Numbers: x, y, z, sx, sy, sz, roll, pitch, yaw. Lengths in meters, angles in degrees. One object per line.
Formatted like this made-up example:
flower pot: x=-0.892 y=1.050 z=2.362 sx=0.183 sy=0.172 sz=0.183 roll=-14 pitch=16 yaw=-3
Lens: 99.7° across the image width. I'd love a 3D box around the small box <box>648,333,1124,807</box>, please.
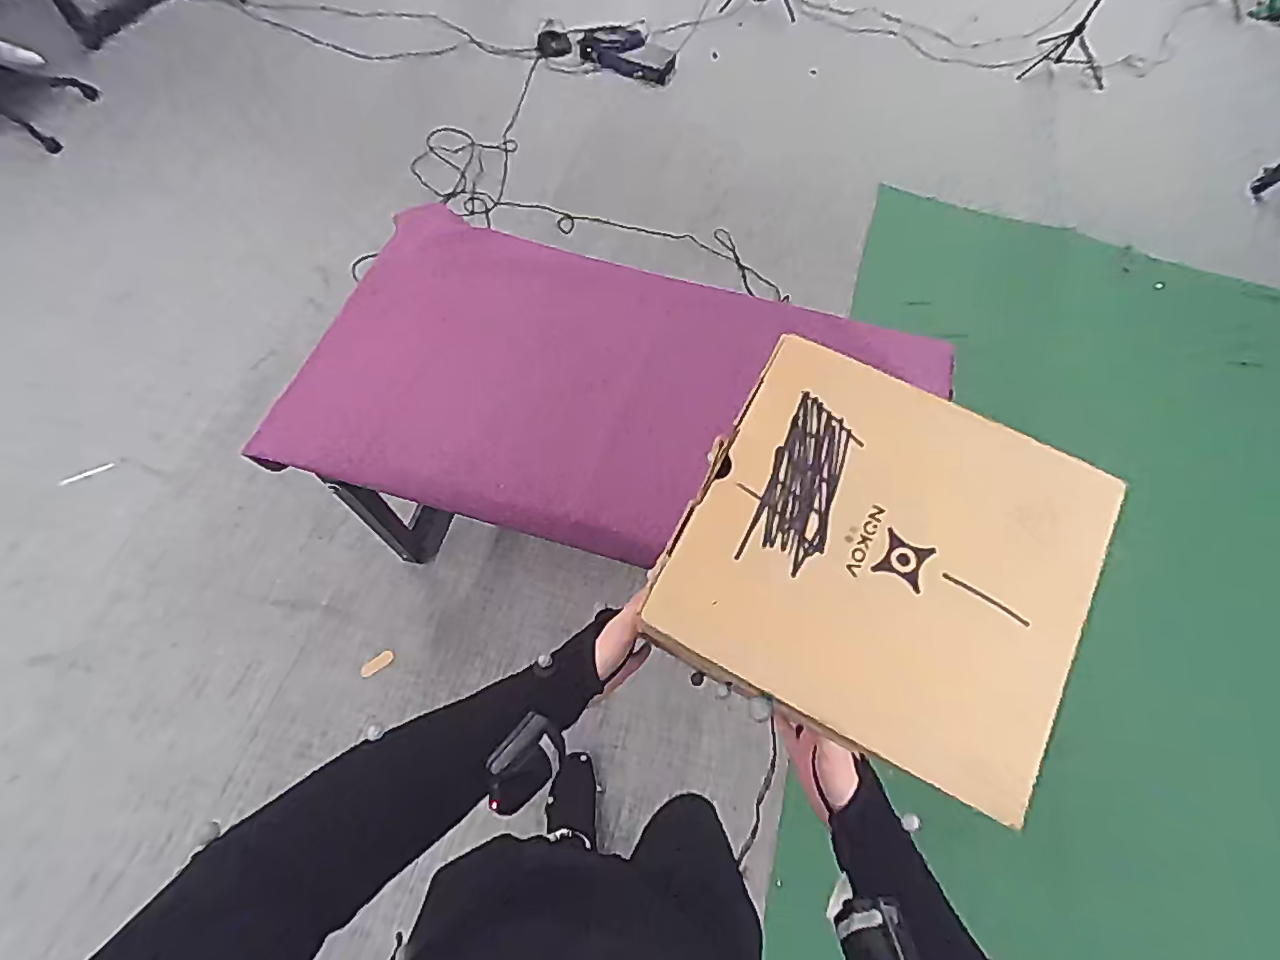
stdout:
small box: x=0.118 y=0.051 z=0.327 sx=0.179 sy=0.176 sz=0.168 roll=28 pitch=77 yaw=8
